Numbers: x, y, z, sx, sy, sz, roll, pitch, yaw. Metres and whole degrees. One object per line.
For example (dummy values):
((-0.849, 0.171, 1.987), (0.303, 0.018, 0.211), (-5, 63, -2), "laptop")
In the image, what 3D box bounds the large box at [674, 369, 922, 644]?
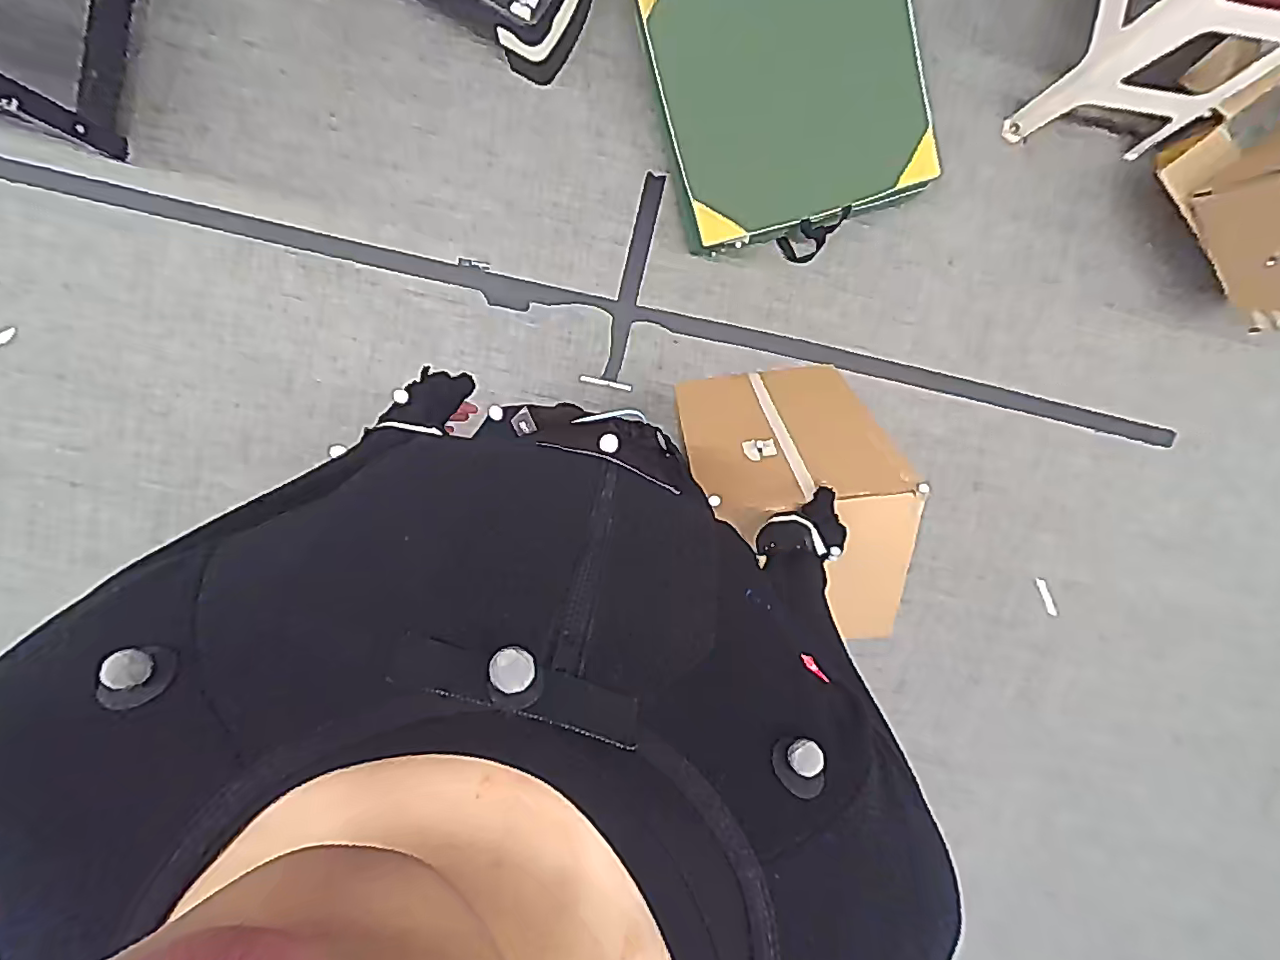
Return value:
((0.246, 0.034, 1.000), (0.320, 0.408, 0.320), (-7, 128, 2), "large box")
